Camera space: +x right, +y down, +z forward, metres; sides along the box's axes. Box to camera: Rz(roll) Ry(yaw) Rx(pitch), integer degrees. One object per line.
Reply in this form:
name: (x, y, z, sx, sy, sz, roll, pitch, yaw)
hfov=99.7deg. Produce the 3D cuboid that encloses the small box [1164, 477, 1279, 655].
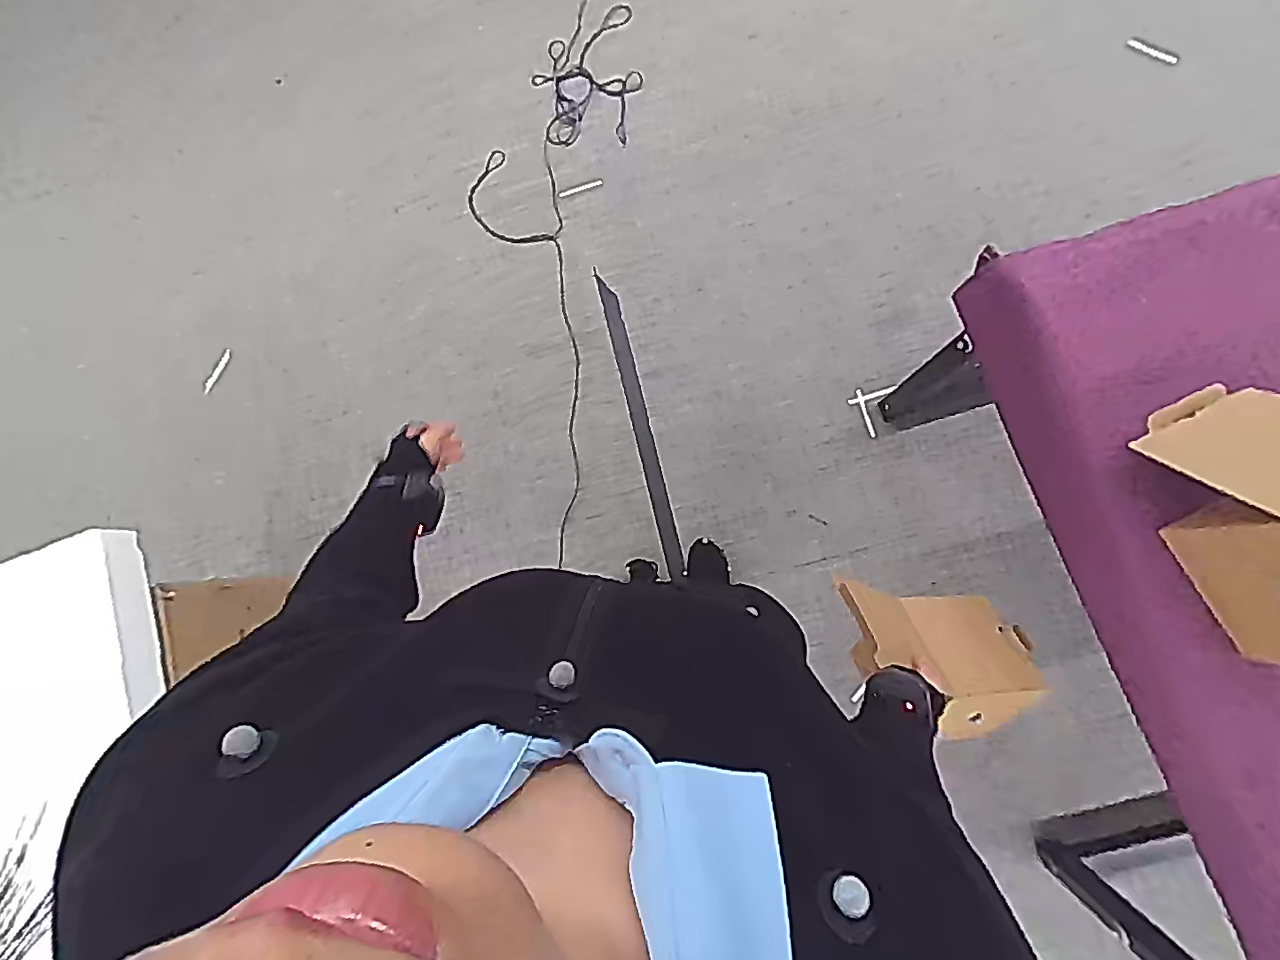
small box: (0.752, 0.089, 0.589, 0.168, 0.176, 0.179, -27, 79, 4)
